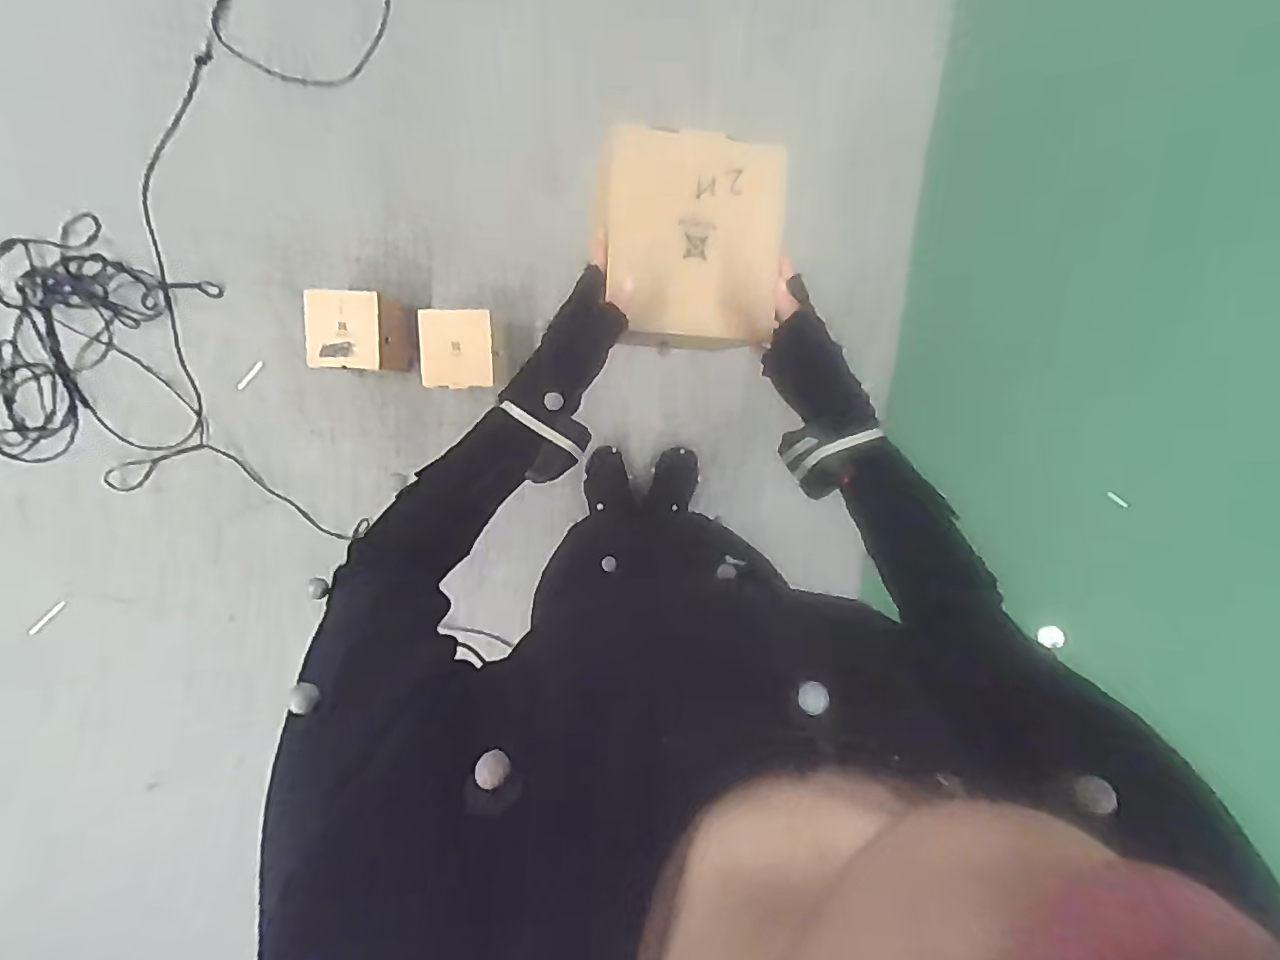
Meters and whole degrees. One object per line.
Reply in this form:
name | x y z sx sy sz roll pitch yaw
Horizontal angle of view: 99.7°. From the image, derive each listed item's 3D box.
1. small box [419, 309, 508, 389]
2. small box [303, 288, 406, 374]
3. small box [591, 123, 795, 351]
small box | -0.421 -0.310 1.308 0.168 0.176 0.179 -1 100 -2
small box | -0.673 -0.348 1.293 0.168 0.176 0.179 2 98 -2
small box | 0.040 -0.230 0.564 0.168 0.176 0.179 1 100 -11
